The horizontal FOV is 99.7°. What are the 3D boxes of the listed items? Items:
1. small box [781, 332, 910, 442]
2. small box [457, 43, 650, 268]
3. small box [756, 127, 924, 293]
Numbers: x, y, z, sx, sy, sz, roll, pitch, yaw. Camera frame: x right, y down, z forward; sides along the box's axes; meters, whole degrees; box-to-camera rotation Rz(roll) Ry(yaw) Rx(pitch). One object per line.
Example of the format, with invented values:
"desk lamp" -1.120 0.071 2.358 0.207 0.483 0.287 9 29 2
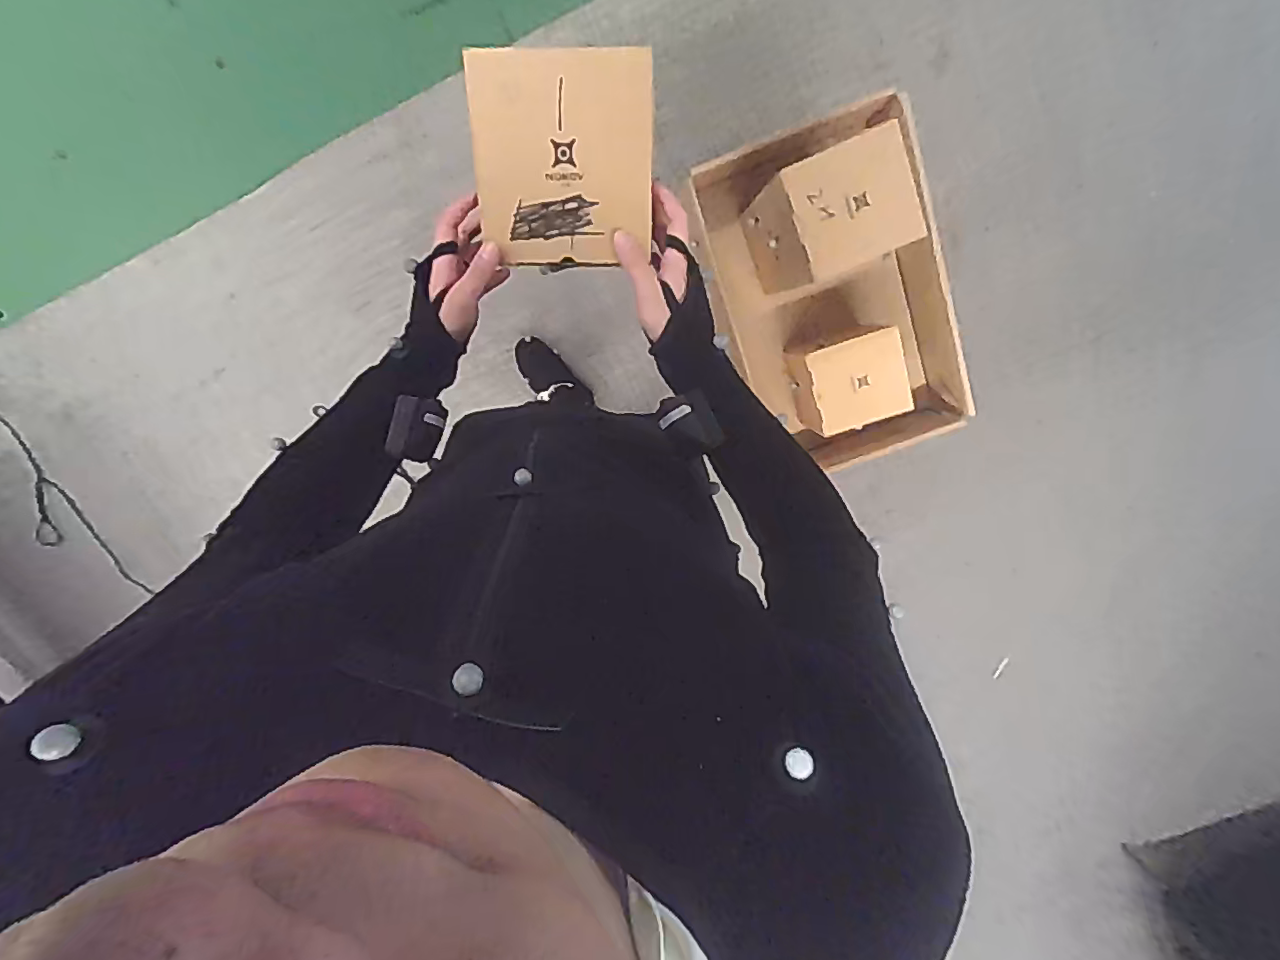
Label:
"small box" 0.405 -0.194 1.085 0.179 0.176 0.168 -18 105 4
"small box" -0.074 -0.319 0.563 0.168 0.176 0.179 1 112 0
"small box" 0.305 -0.410 0.852 0.179 0.176 0.168 -22 104 5
